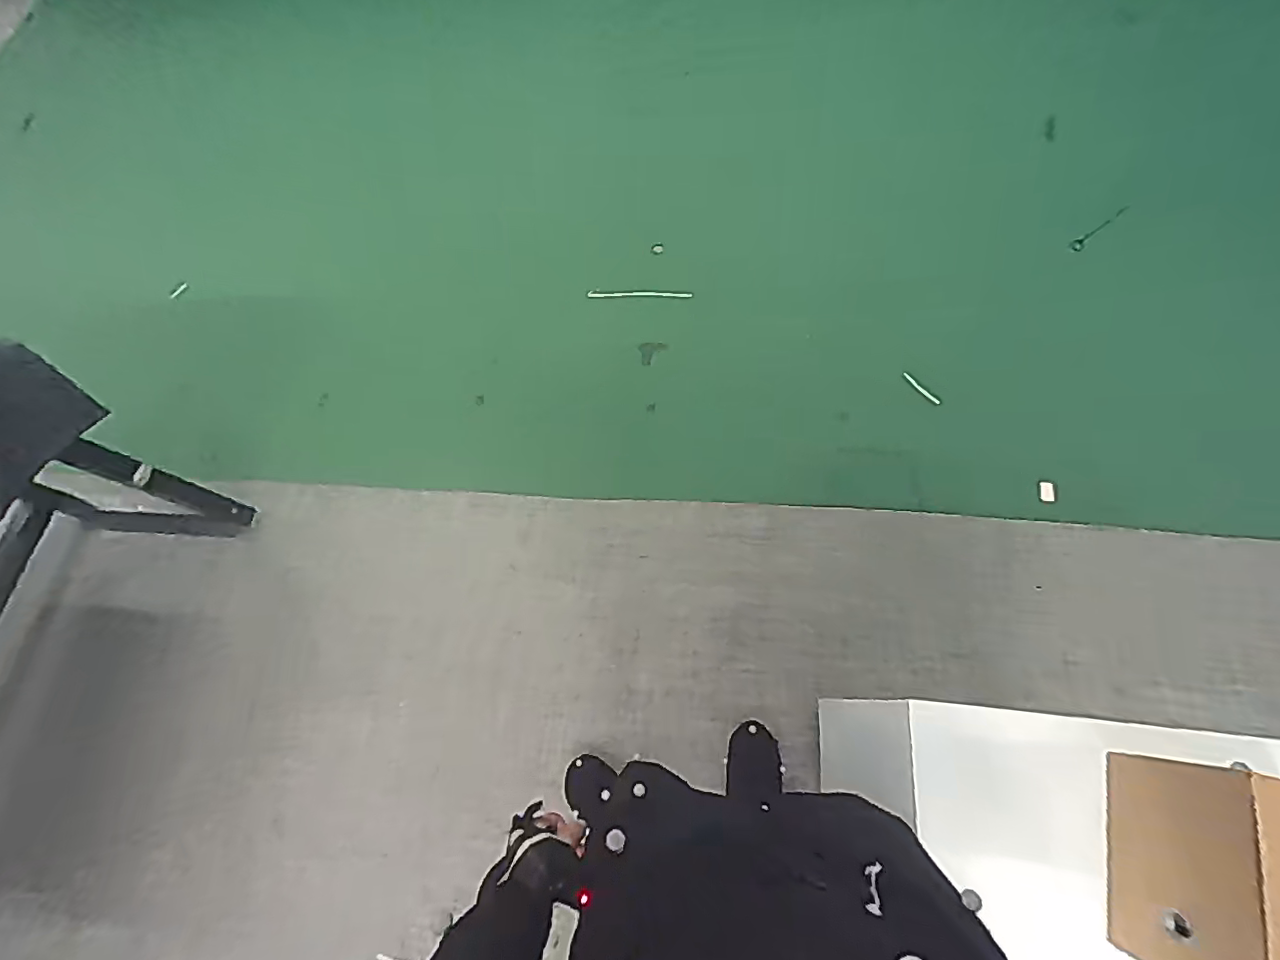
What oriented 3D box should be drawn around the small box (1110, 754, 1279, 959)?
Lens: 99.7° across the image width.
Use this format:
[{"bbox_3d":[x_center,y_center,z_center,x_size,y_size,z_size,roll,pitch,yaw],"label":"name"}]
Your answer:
[{"bbox_3d":[0.535,0.349,0.447,0.168,0.176,0.179,13,69,11],"label":"small box"}]
